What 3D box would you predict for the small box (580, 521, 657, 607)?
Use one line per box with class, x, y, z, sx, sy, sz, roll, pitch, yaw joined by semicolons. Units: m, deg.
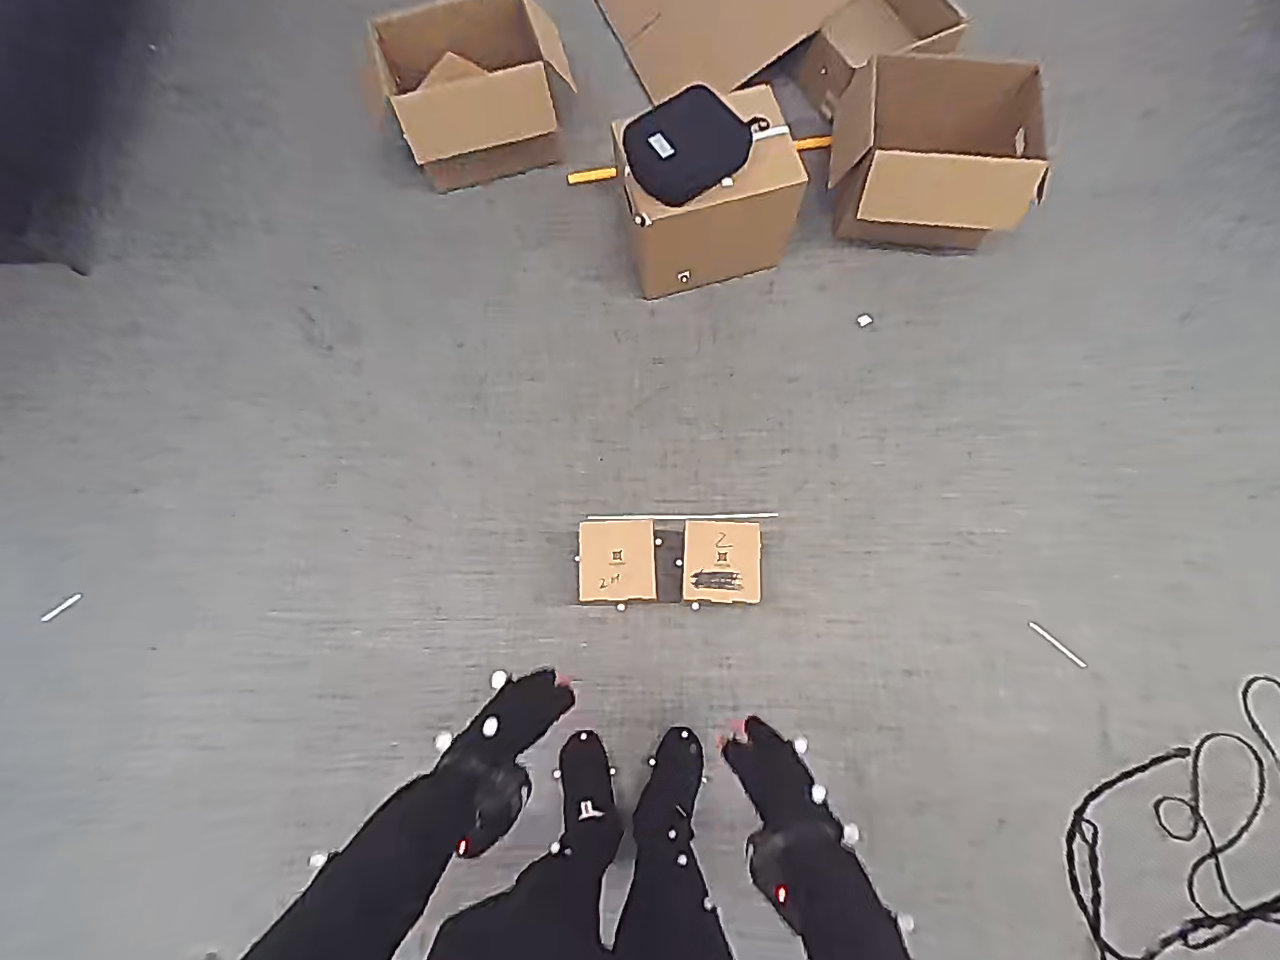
small box;-0.045;0.199;1.253;0.168;0.176;0.179;-3;74;2
